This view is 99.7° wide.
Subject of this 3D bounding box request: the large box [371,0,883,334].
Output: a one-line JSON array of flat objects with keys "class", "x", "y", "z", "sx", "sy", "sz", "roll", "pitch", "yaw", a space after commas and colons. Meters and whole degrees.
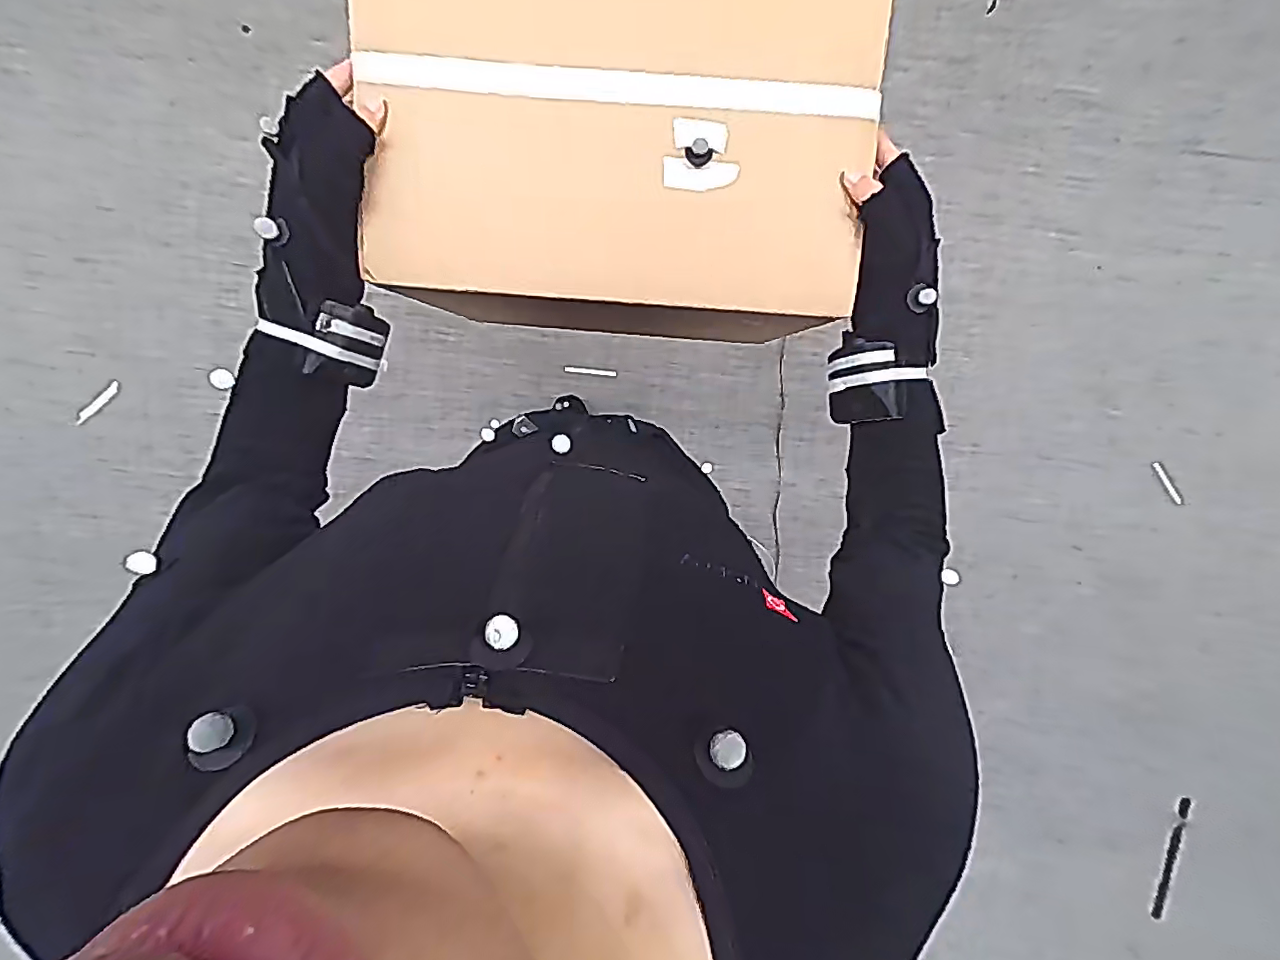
[{"class": "large box", "x": -0.016, "y": -0.336, "z": 0.574, "sx": 0.408, "sy": 0.320, "sz": 0.320, "roll": 4, "pitch": 100, "yaw": -1}]
